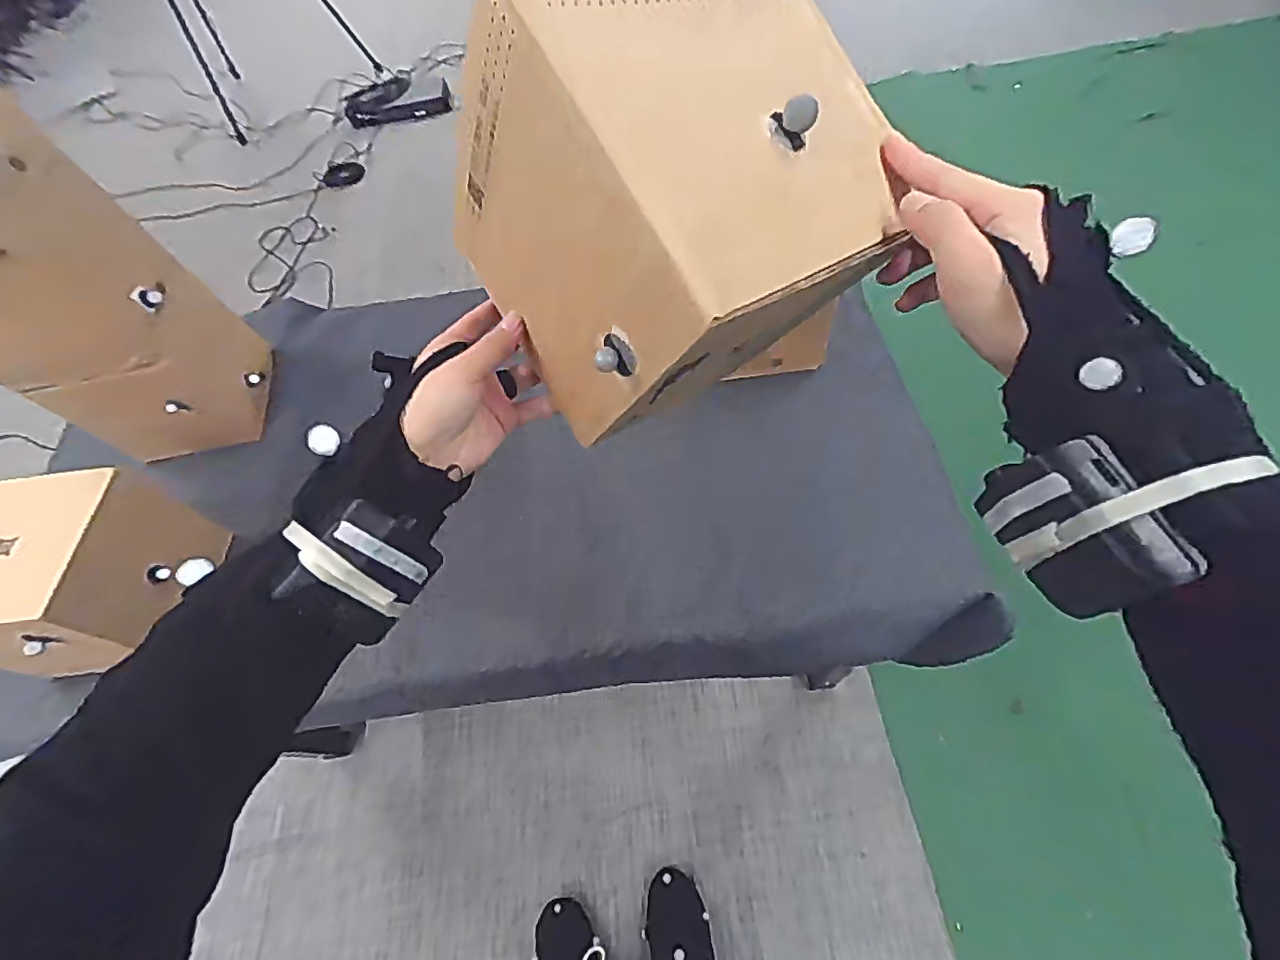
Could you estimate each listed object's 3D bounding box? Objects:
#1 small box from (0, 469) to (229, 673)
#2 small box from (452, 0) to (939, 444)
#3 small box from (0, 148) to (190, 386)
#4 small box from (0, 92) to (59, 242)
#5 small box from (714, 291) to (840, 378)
[{"bbox_3d":[-0.612,0.107,0.596,0.179,0.176,0.168,-7,58,3],"label":"small box"},{"bbox_3d":[0.020,-0.151,0.312,0.179,0.168,0.176,-32,91,-27],"label":"small box"},{"bbox_3d":[-0.667,-0.226,0.602,0.179,0.176,0.168,-12,63,-1],"label":"small box"},{"bbox_3d":[-0.678,-0.294,0.453,0.179,0.176,0.168,-10,63,0],"label":"small box"},{"bbox_3d":[0.147,-0.259,0.706,0.168,0.176,0.179,-7,63,4],"label":"small box"}]
